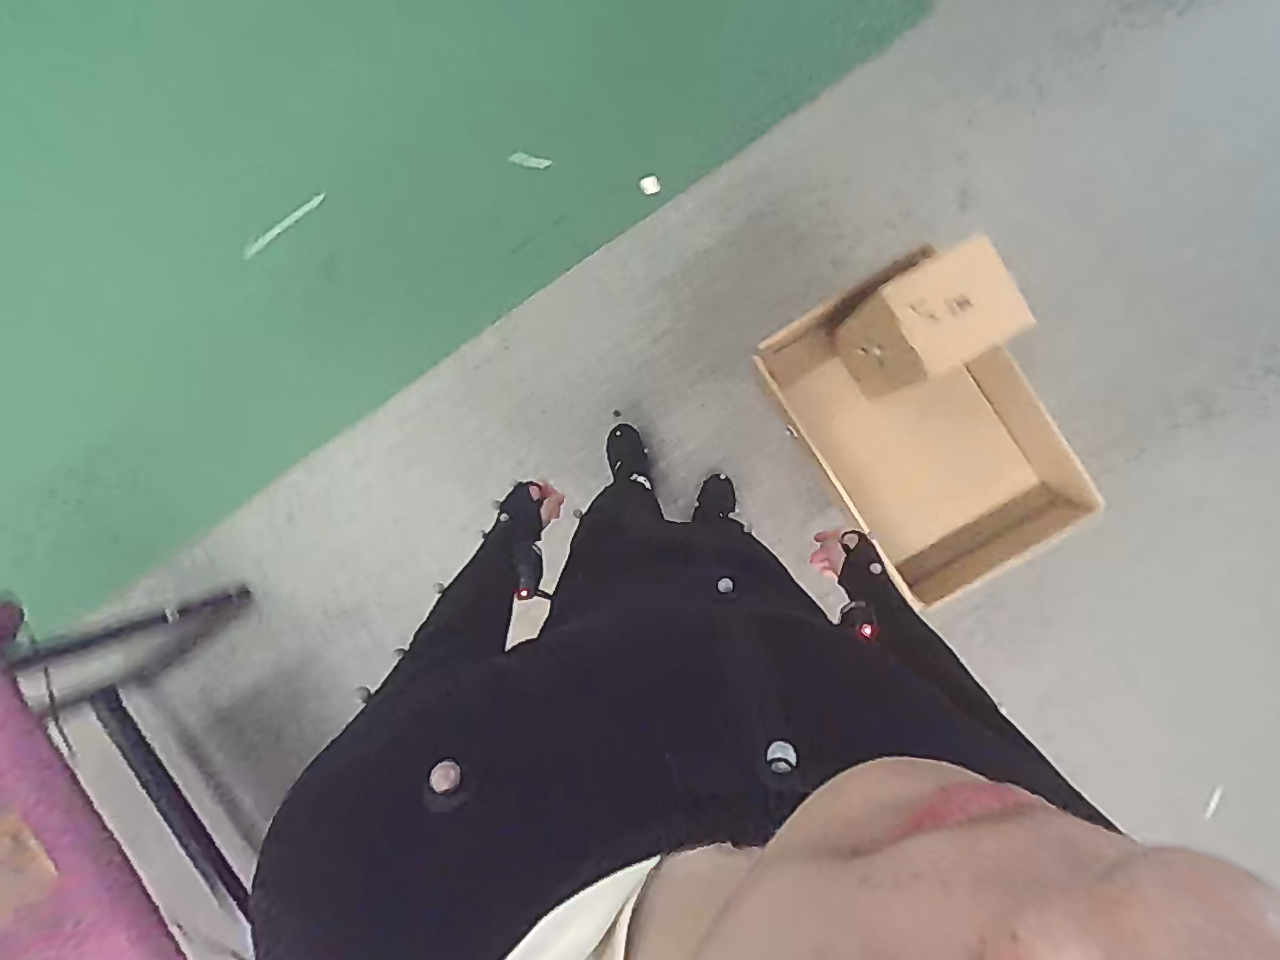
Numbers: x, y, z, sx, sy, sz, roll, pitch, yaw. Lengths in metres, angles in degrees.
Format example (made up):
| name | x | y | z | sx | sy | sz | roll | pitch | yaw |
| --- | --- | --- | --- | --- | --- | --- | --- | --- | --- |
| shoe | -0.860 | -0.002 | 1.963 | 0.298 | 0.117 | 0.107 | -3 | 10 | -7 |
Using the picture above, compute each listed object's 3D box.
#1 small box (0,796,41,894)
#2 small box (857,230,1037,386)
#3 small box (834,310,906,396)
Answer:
| name | x | y | z | sx | sy | sz | roll | pitch | yaw |
| --- | --- | --- | --- | --- | --- | --- | --- | --- | --- |
| small box | -1.280 | 0.729 | 0.984 | 0.179 | 0.176 | 0.168 | -34 | 90 | 6 |
| small box | 0.501 | -0.277 | 0.912 | 0.179 | 0.176 | 0.168 | -28 | 89 | 6 |
| small box | 0.517 | -0.285 | 1.075 | 0.179 | 0.176 | 0.168 | -30 | 90 | 6 |
